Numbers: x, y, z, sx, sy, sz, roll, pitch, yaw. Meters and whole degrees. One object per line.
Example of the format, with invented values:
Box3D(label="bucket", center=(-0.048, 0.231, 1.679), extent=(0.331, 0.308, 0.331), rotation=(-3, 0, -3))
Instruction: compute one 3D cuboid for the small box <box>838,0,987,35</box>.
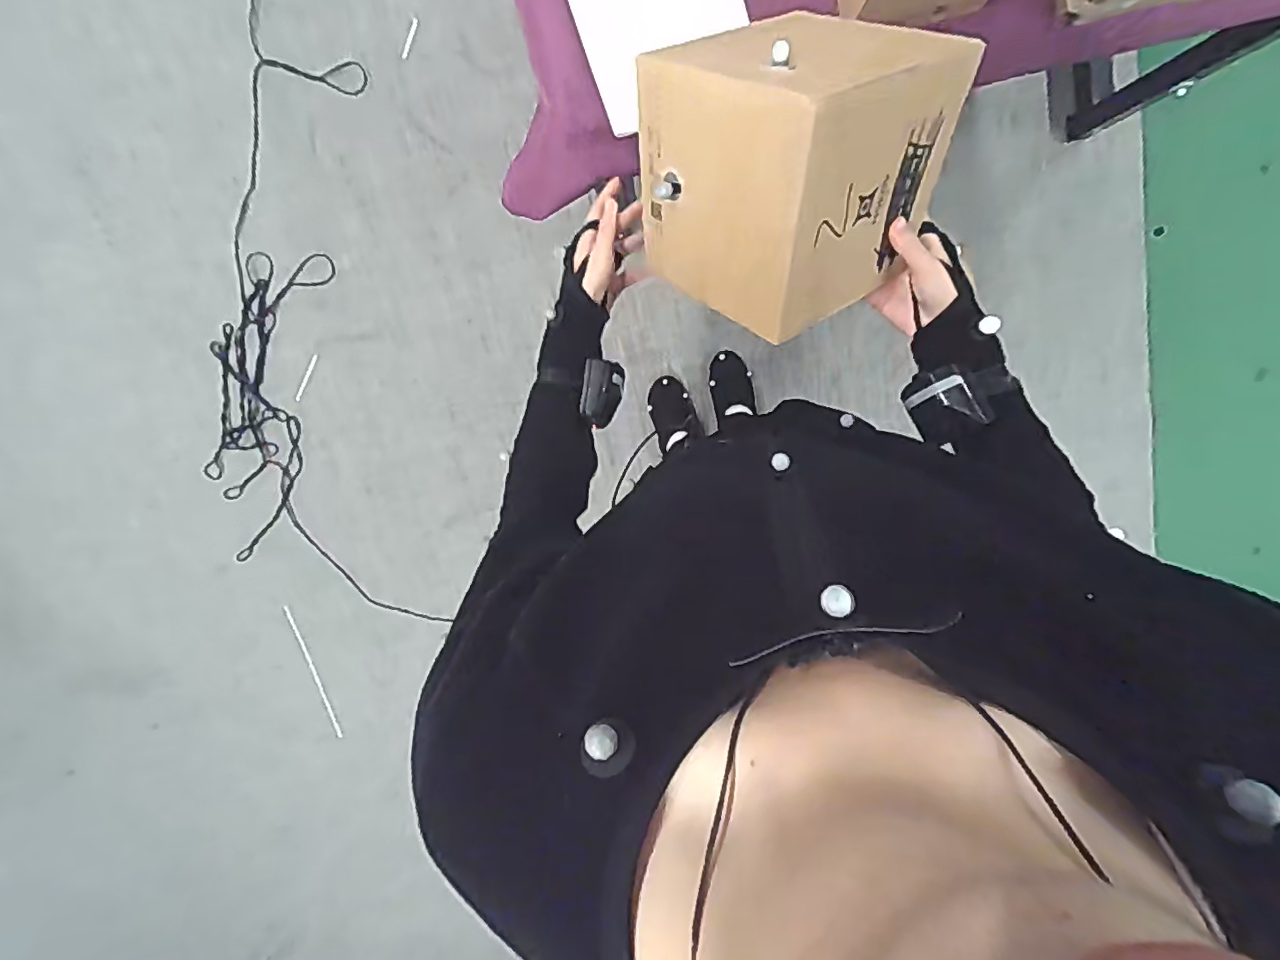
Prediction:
Box3D(label="small box", center=(0.307, -0.605, 0.556), extent=(0.168, 0.176, 0.179), rotation=(-10, 100, 3))

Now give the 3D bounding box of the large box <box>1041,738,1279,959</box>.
Box3D(label="large box", center=(1.473, 1.021, 1.528), extent=(0.408, 0.320, 0.320), rotation=(-26, 100, 6))
